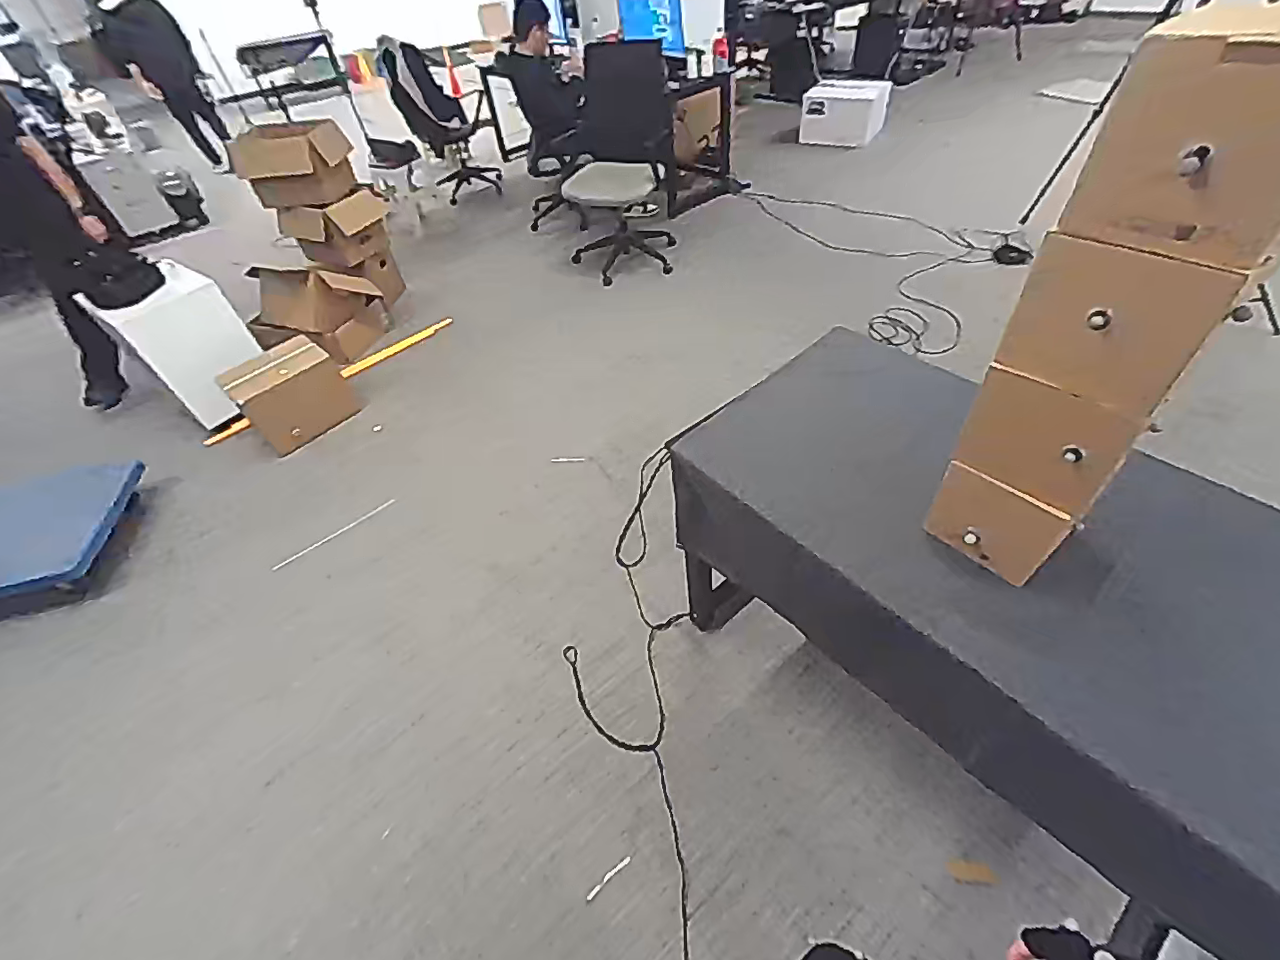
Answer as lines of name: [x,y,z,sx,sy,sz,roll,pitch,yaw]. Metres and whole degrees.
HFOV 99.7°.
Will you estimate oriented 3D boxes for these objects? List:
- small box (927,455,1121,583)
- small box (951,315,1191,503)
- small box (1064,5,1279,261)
small box: [0.588,0.025,0.852,0.179,0.176,0.168,-33,50,-21]
small box: [0.571,-0.092,0.740,0.168,0.176,0.179,-34,50,-24]
small box: [0.554,-0.332,0.517,0.179,0.176,0.168,-33,50,-23]
